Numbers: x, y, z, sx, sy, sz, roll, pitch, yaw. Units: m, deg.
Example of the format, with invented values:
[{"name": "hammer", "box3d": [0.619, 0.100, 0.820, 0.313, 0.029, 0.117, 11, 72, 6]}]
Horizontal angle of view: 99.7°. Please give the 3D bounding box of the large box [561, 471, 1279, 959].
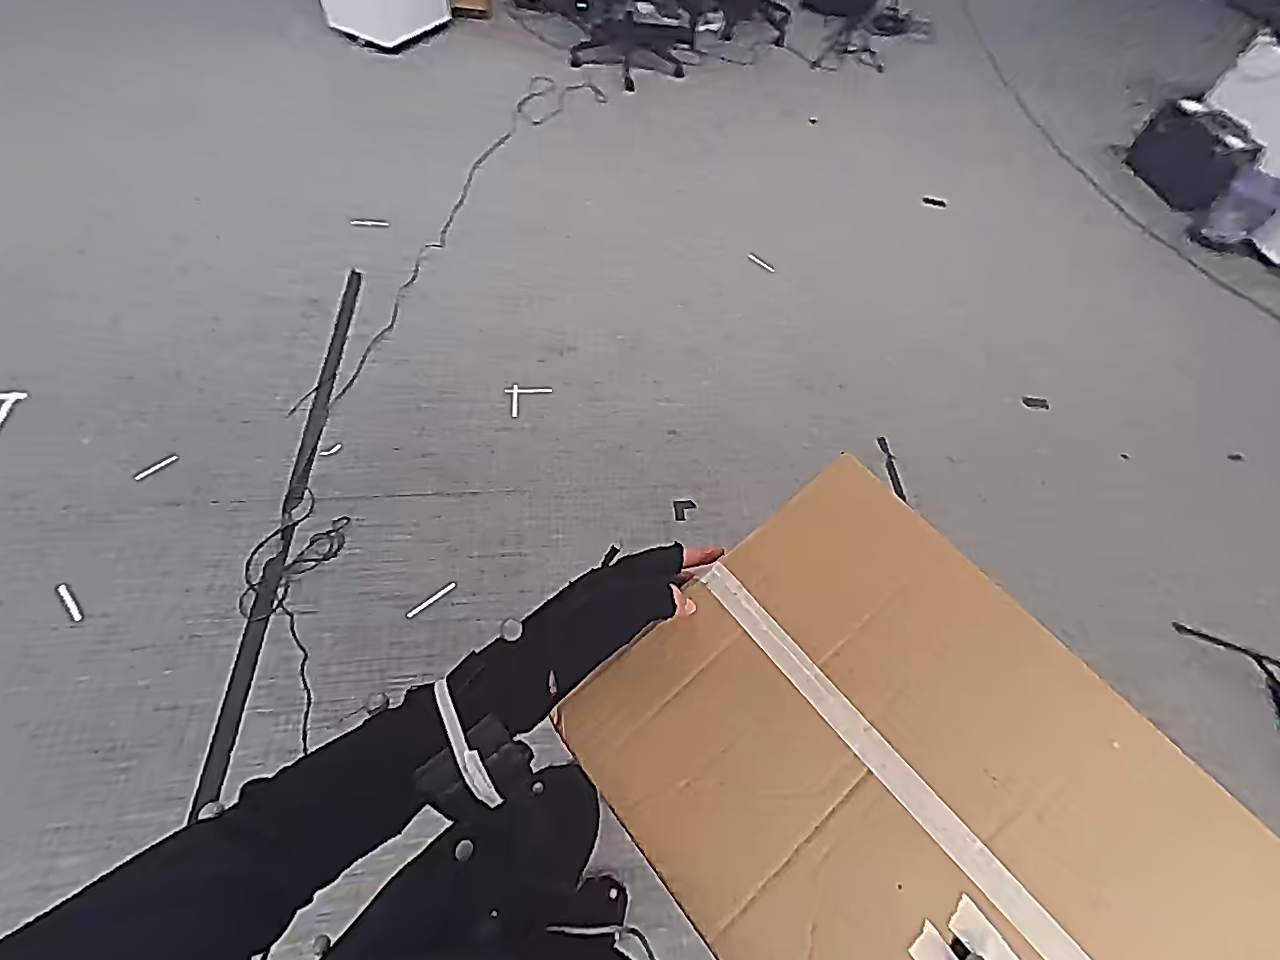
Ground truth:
[{"name": "large box", "box3d": [0.182, 0.273, 0.505, 0.320, 0.320, 0.408, -38, 72, -14]}]
